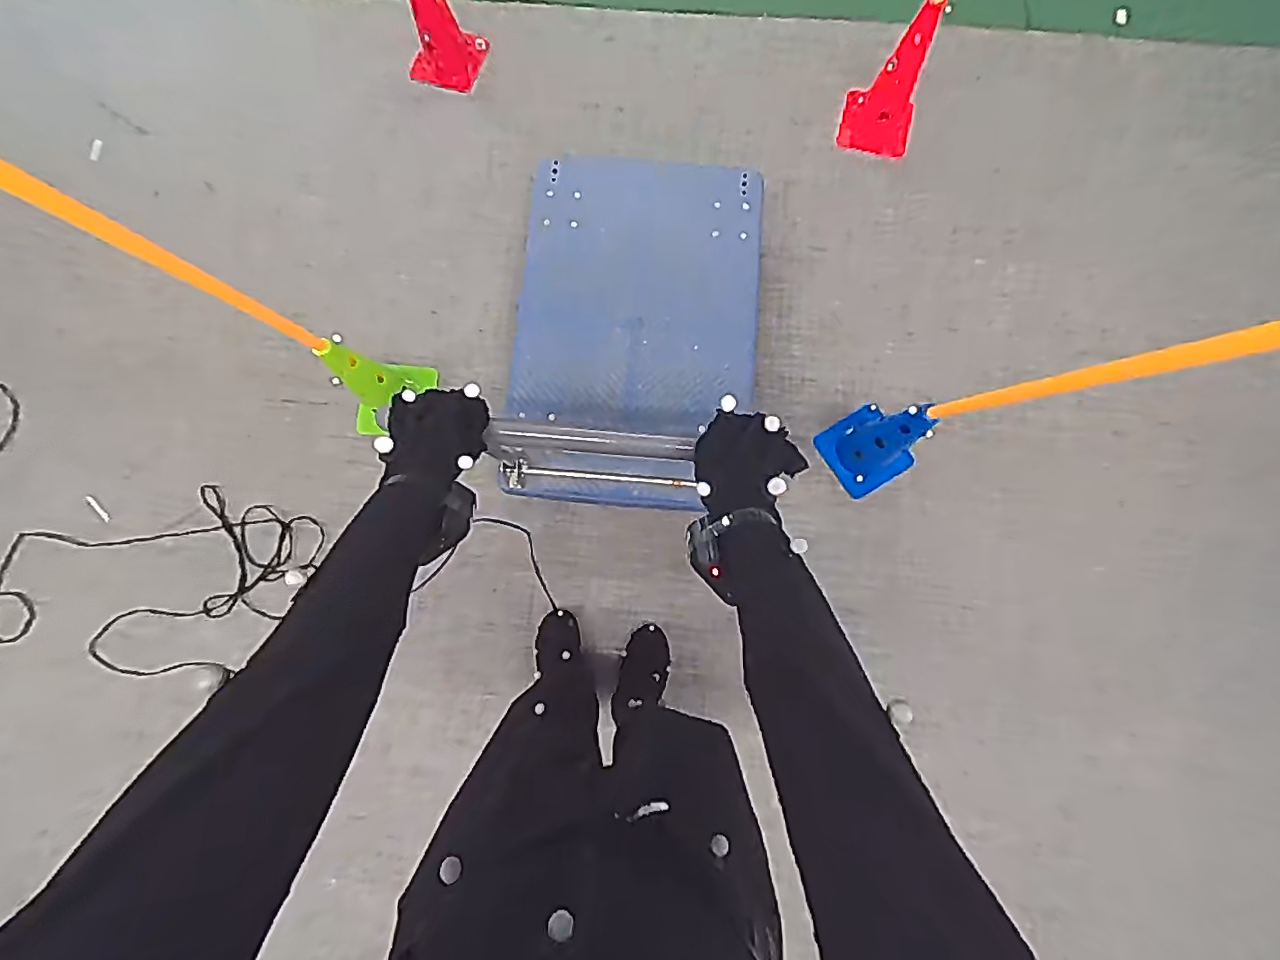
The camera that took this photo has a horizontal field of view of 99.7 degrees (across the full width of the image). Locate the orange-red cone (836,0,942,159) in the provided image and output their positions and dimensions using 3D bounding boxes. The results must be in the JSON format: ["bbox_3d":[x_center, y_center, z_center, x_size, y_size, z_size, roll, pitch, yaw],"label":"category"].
[{"bbox_3d":[0.683,-1.068,1.413,0.198,0.360,0.199,16,81,5],"label":"orange-red cone"}]
